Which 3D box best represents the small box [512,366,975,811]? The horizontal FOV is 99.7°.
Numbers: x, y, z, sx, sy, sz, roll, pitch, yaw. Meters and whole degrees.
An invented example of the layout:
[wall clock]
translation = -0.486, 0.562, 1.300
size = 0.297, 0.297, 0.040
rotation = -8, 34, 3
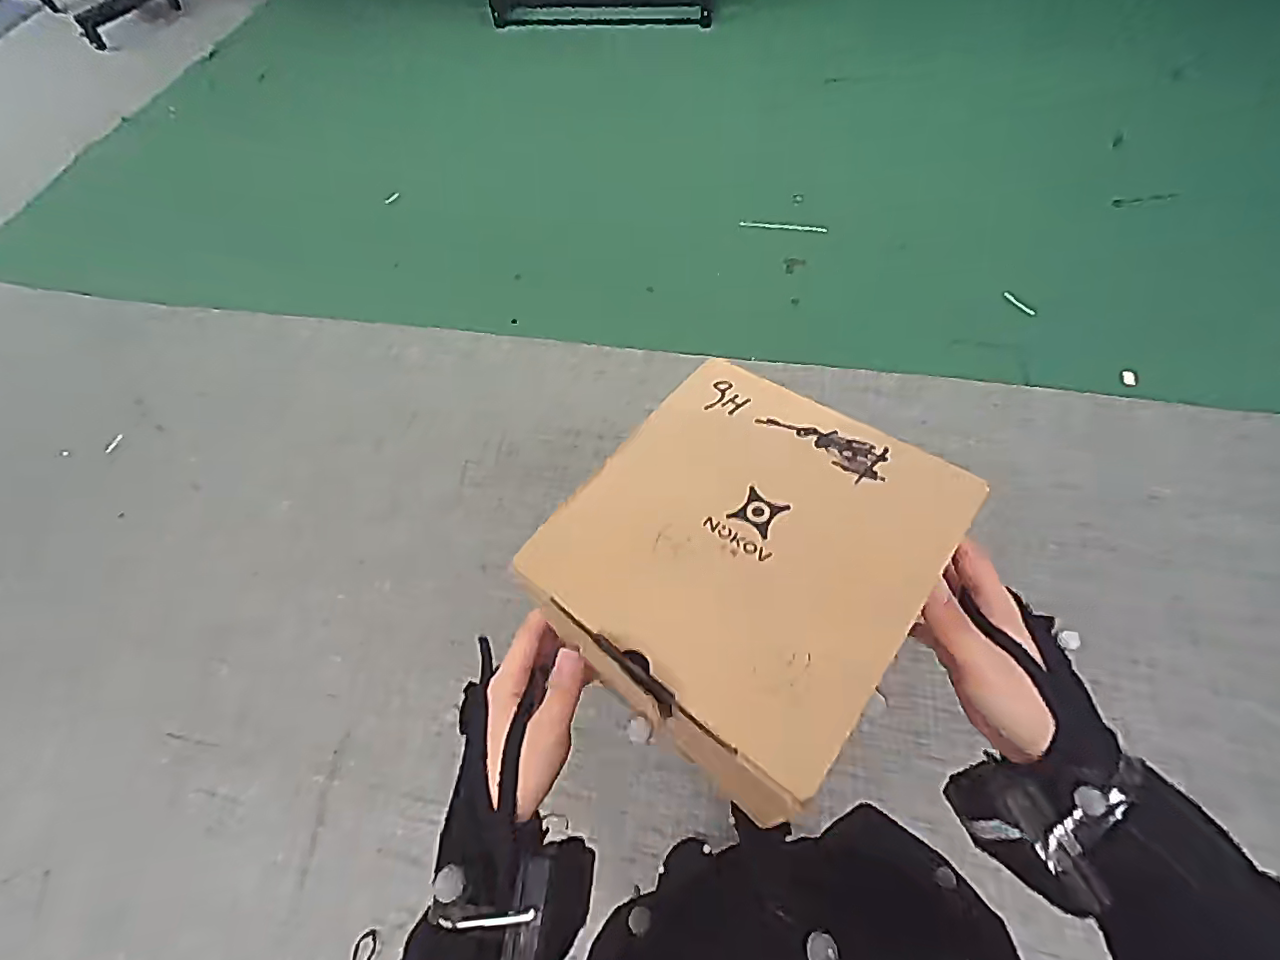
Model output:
[small box]
translation = 0.059, 0.070, 0.332
size = 0.168, 0.176, 0.179
rotation = 33, 65, 26
